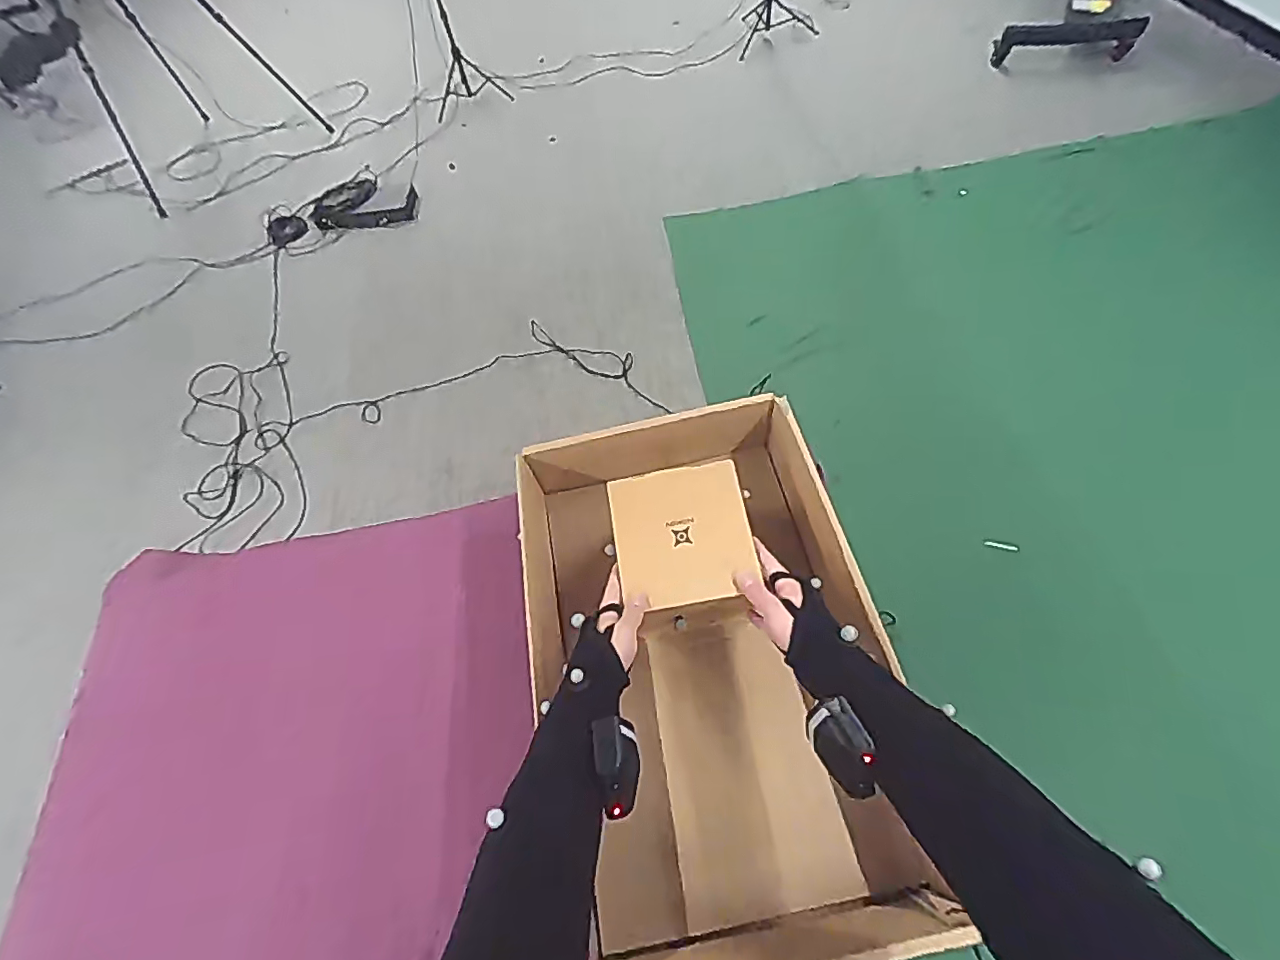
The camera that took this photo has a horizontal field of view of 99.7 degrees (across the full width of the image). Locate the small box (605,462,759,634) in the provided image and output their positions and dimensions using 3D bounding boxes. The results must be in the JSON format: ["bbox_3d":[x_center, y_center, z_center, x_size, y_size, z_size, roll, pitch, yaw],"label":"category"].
[{"bbox_3d":[0.056,0.101,0.725,0.168,0.176,0.179,-11,63,2],"label":"small box"}]
